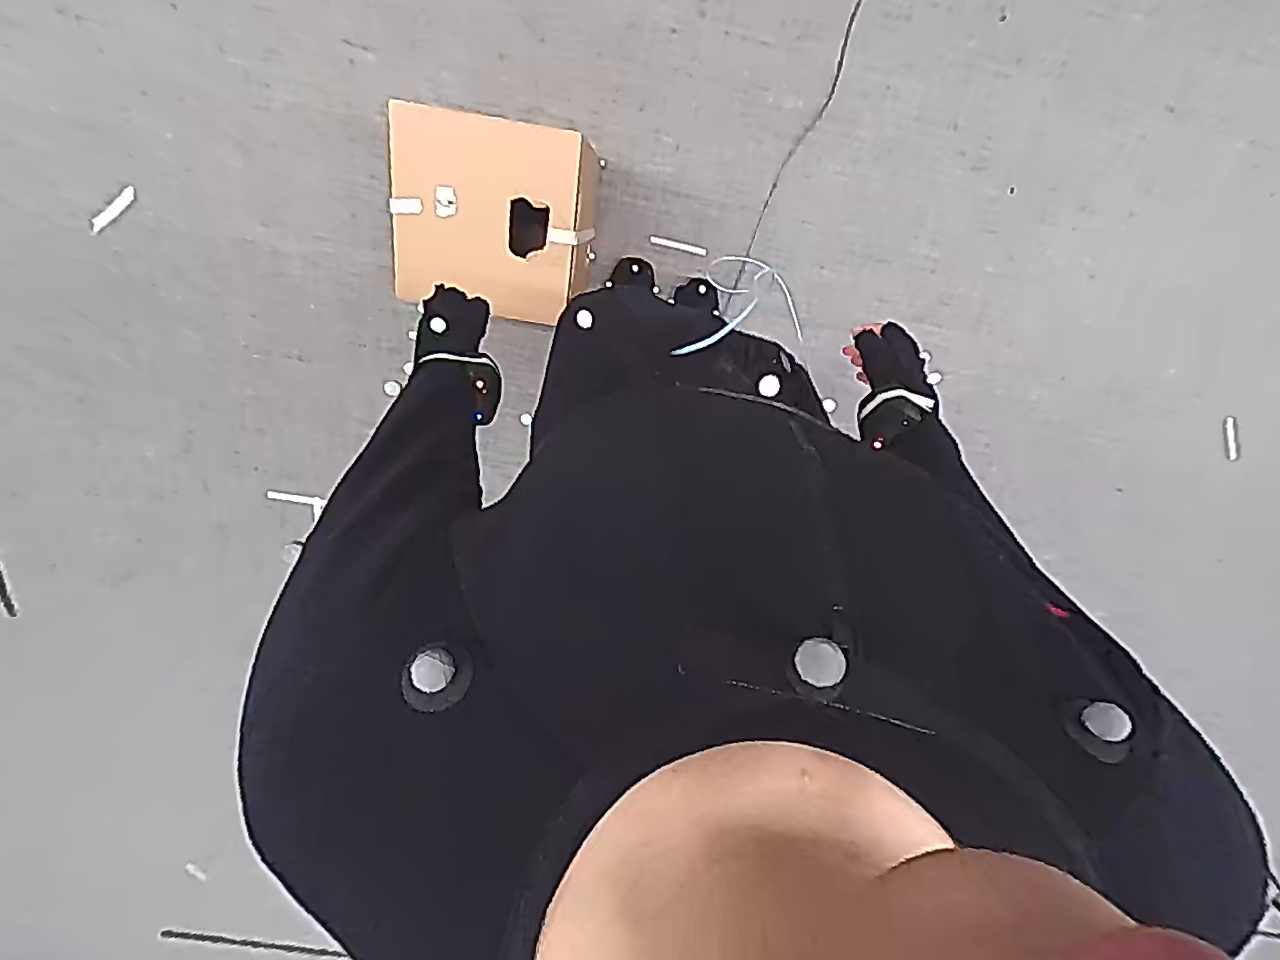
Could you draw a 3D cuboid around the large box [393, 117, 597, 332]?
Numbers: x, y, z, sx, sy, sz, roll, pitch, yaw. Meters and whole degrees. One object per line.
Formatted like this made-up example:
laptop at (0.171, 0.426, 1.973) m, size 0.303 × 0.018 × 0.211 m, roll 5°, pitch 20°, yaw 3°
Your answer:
large box at (-0.268, -0.519, 1.109) m, size 0.320 × 0.408 × 0.320 m, roll 8°, pitch 116°, yaw -5°
